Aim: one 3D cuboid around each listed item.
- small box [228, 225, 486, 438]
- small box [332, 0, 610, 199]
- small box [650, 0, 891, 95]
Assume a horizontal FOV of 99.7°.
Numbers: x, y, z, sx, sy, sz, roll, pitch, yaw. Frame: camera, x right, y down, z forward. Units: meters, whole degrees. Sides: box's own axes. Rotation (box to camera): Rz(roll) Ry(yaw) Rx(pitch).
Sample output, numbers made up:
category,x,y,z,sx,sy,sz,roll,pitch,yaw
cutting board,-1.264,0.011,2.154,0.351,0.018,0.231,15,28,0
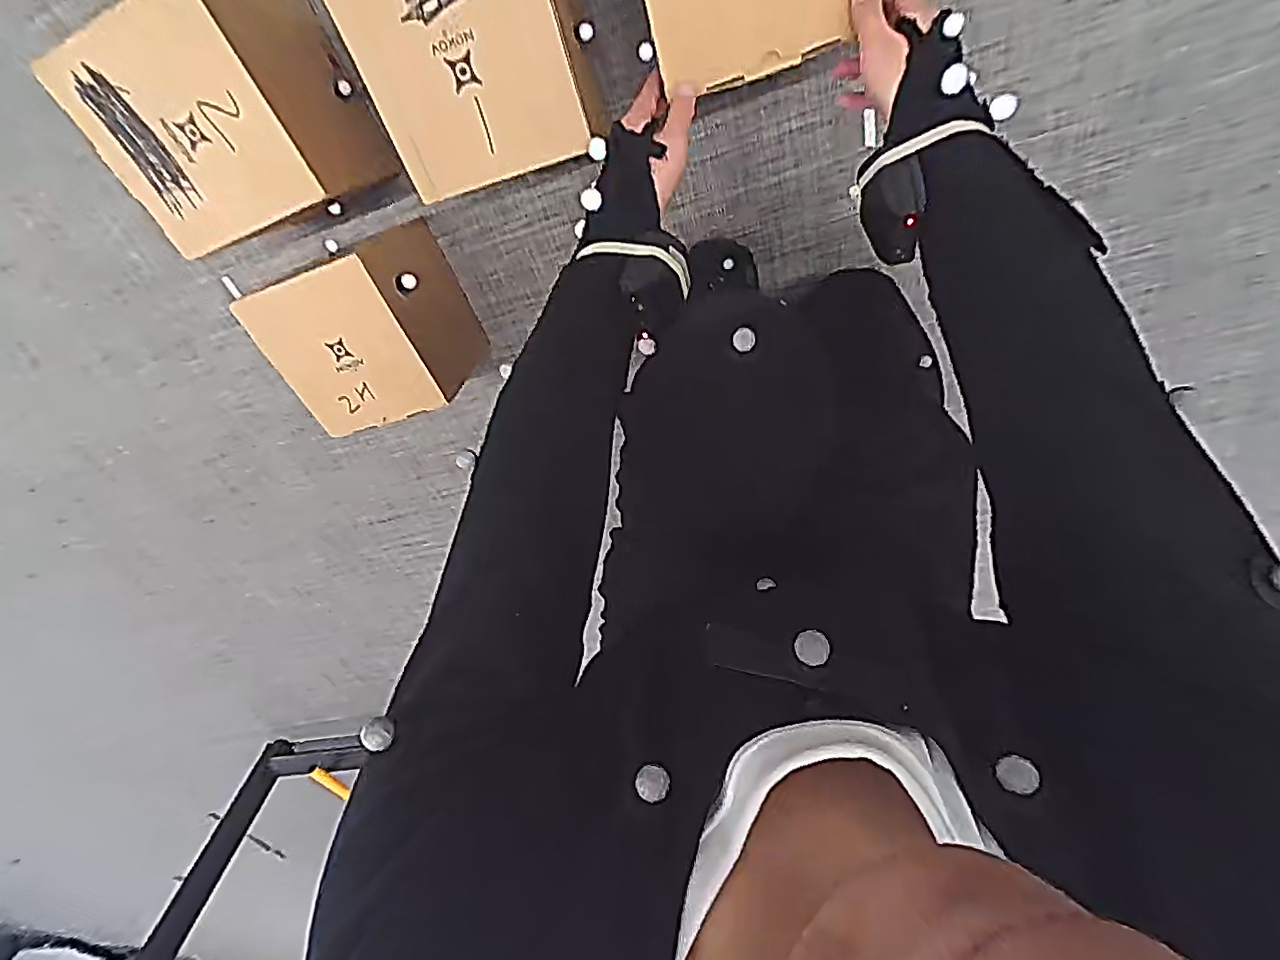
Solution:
category,x,y,z,sx,sy,sz,roll,pitch,yaw
small box,-0.309,-0.181,0.636,0.168,0.176,0.179,-13,126,14
small box,-0.132,-0.377,0.475,0.168,0.176,0.179,-11,127,12
small box,0.082,-0.431,0.423,0.168,0.176,0.179,-13,126,13
